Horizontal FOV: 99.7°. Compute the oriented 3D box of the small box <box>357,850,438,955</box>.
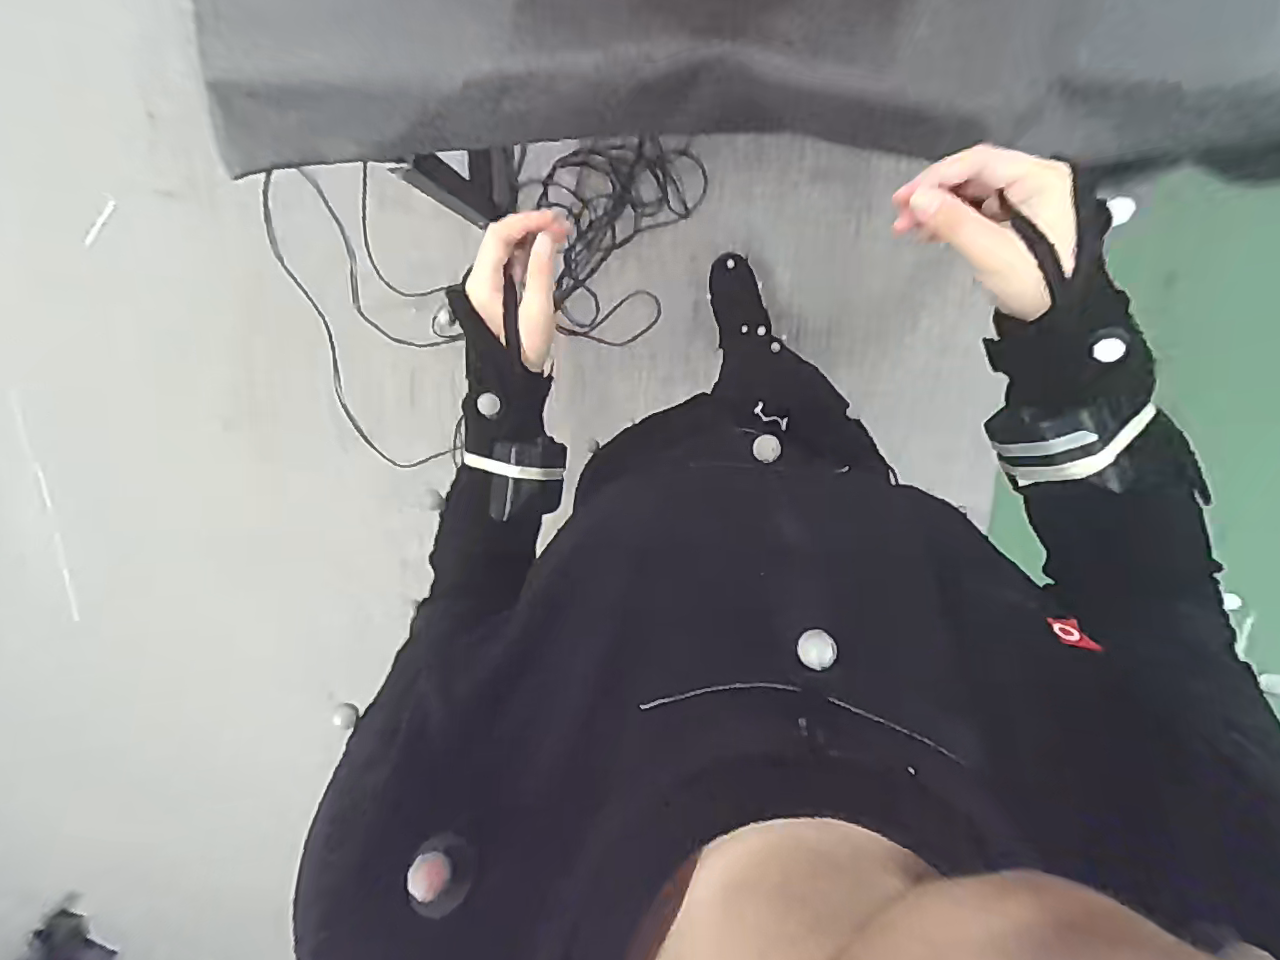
[{"bbox_3d":[-0.716,1.246,1.605,0.168,0.176,0.179,7,104,4],"label":"small box"}]
